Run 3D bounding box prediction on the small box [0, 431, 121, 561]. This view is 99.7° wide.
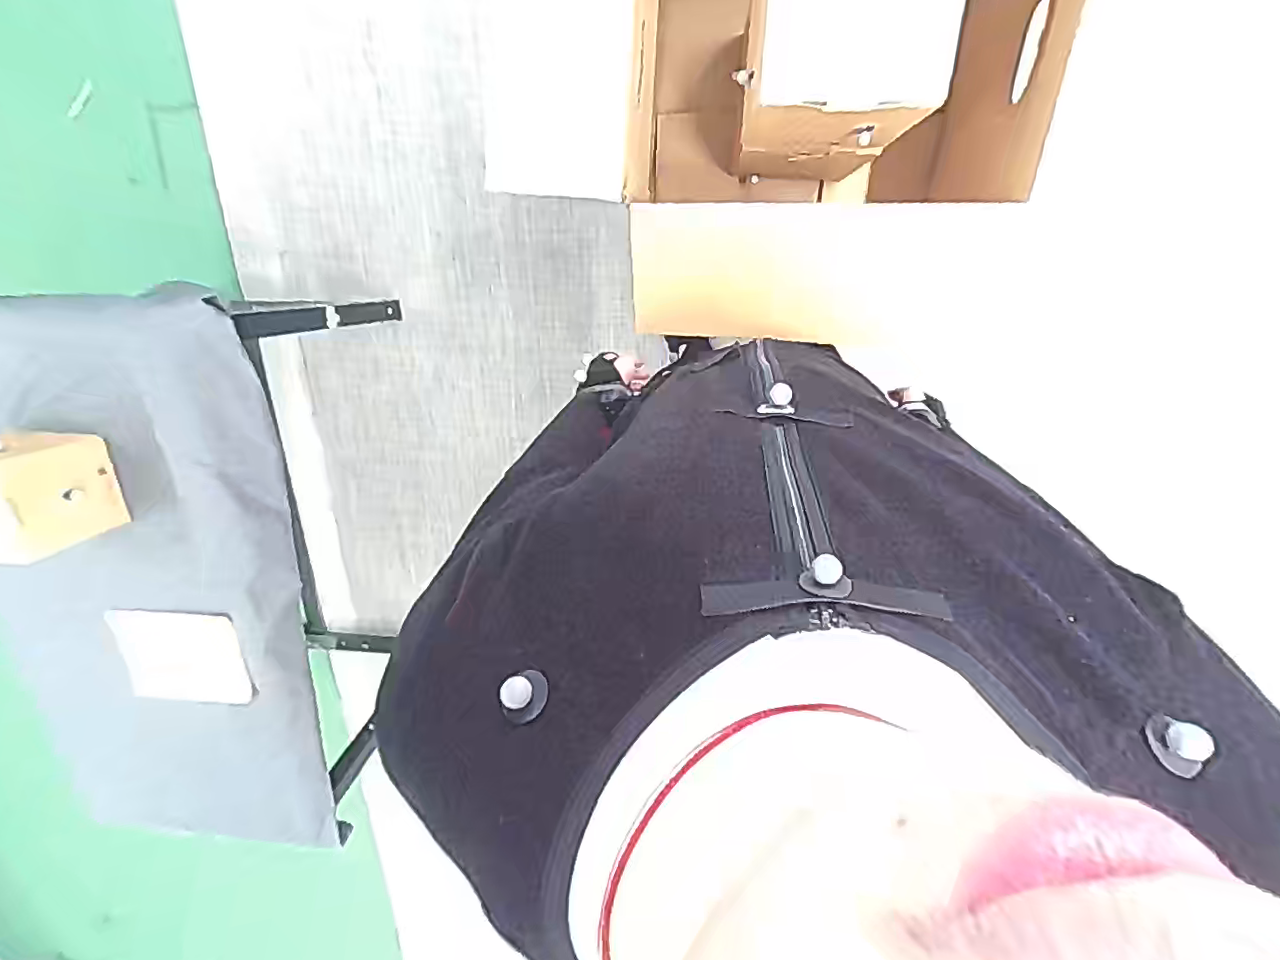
[{"bbox_3d":[-1.025,0.019,0.898,0.179,0.176,0.168,2,110,5],"label":"small box"}]
